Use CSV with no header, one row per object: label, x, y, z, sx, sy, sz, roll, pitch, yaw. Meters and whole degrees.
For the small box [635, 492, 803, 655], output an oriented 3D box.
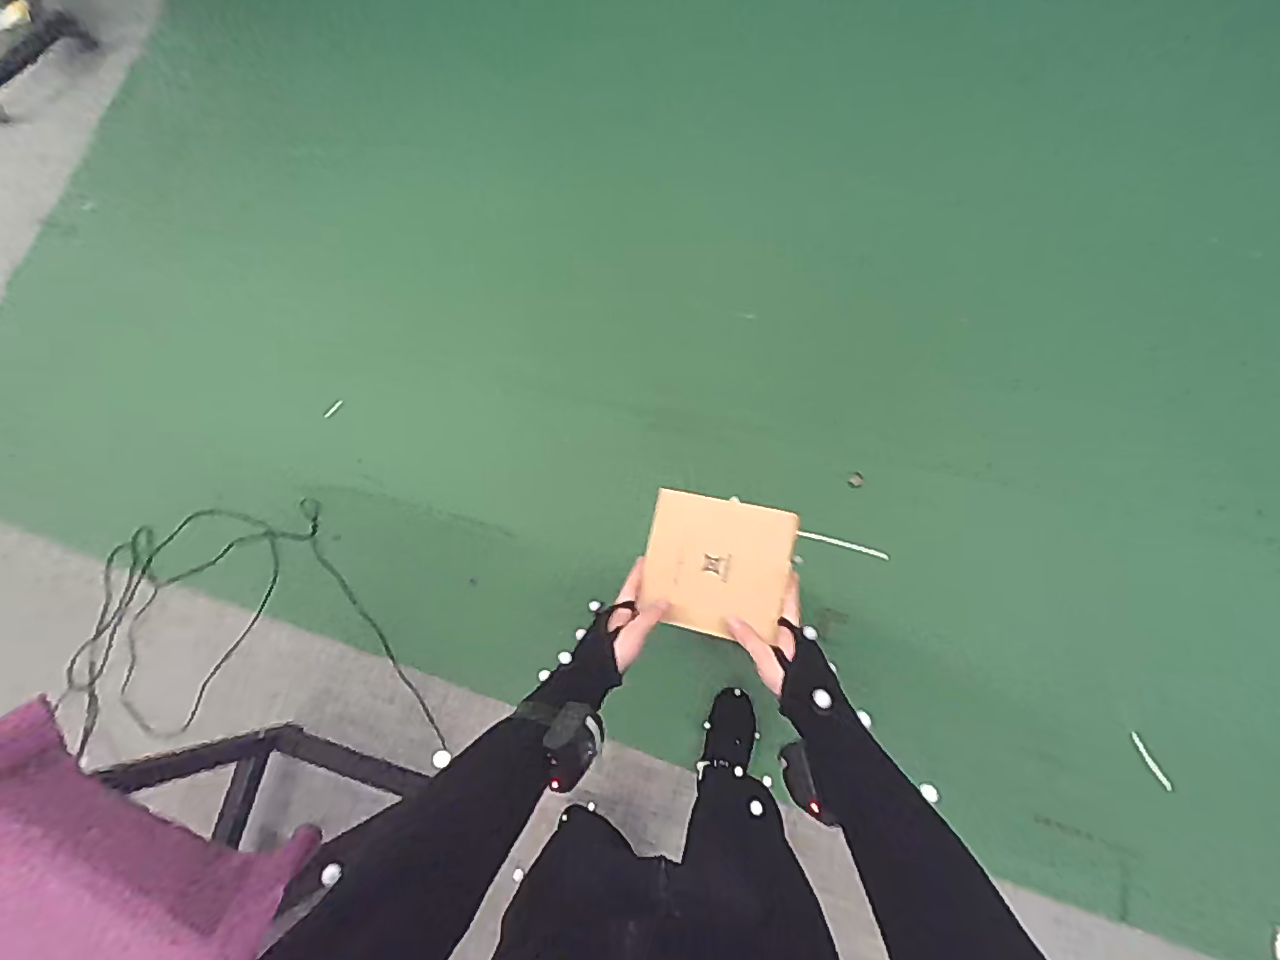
small box,0.111,0.128,0.732,0.179,0.176,0.168,11,77,15
